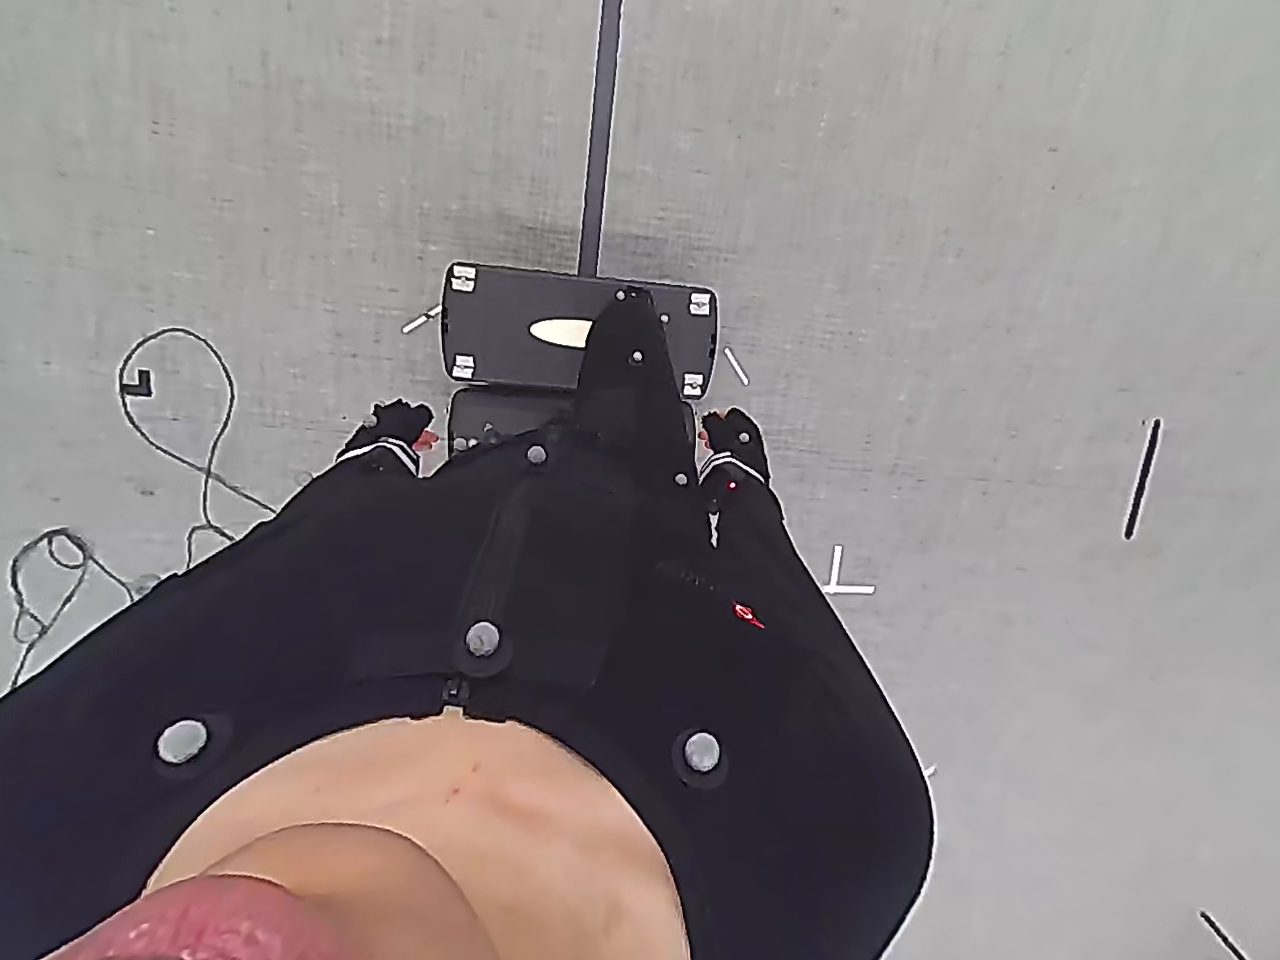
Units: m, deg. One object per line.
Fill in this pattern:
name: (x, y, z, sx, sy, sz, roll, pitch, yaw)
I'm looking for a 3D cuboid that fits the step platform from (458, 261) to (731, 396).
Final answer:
step platform: (-0.112, -0.383, 1.400, 0.684, 0.204, 0.286, 3, 102, -7)
